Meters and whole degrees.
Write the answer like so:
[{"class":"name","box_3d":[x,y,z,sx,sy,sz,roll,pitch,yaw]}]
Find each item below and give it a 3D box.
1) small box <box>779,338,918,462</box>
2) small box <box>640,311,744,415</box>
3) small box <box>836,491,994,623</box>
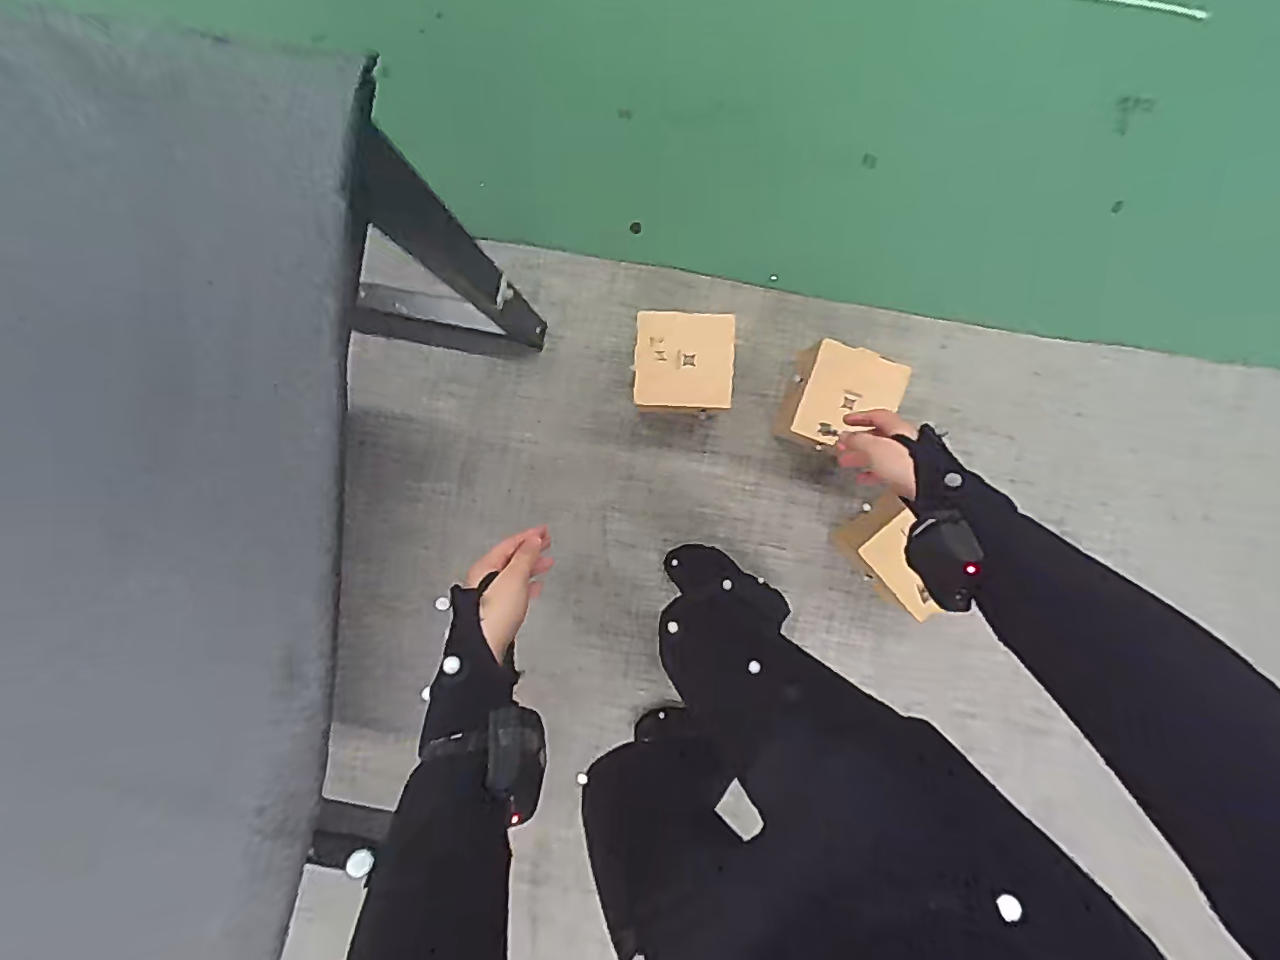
[{"class":"small box","box_3d":[0.380,-0.143,1.021,0.168,0.176,0.179,20,93,0]},{"class":"small box","box_3d":[0.092,-0.213,1.027,0.179,0.176,0.168,3,92,2]},{"class":"small box","box_3d":[0.512,0.135,1.033,0.168,0.176,0.179,-41,90,3]}]
